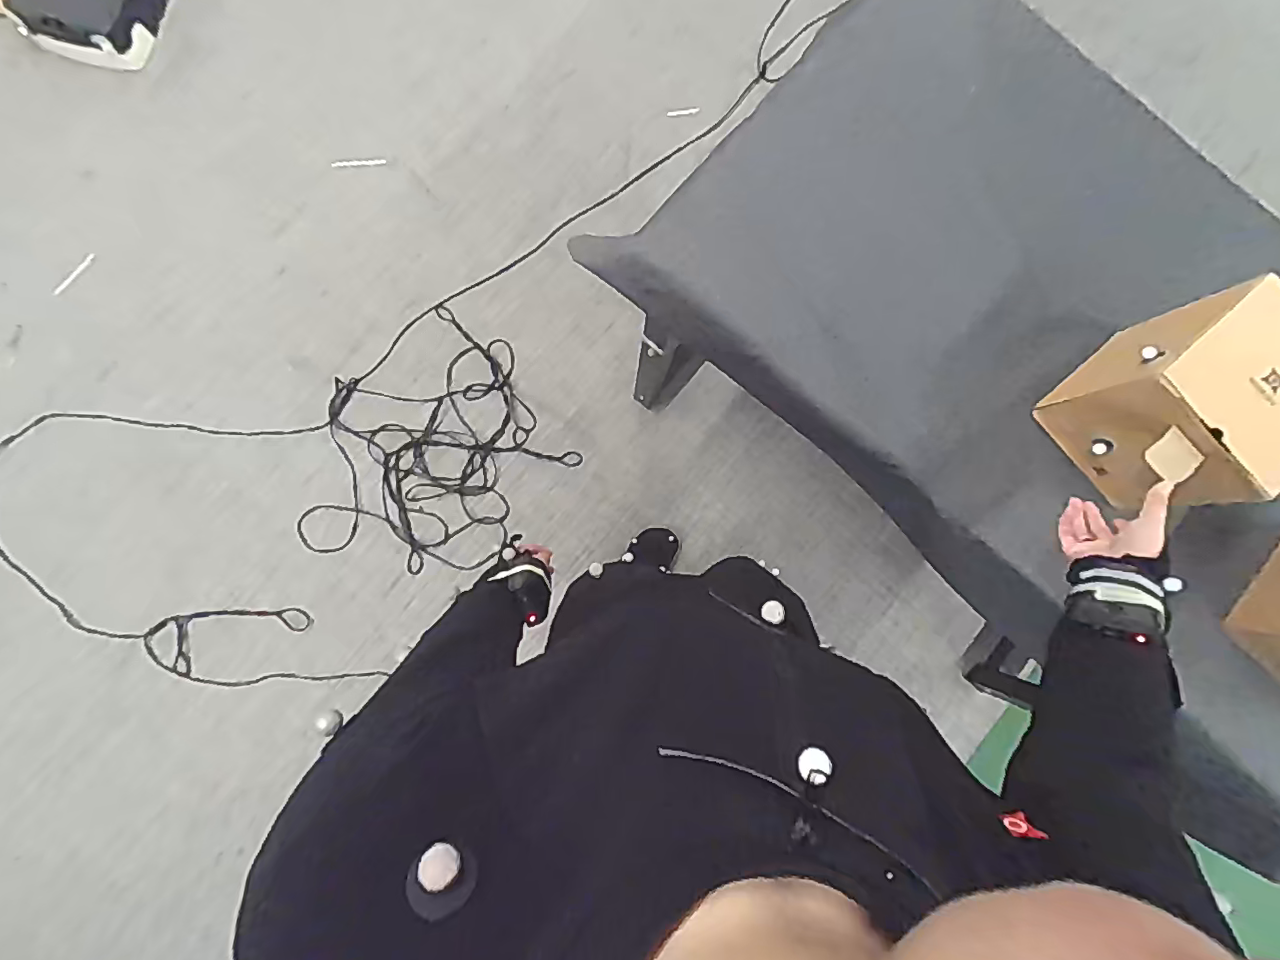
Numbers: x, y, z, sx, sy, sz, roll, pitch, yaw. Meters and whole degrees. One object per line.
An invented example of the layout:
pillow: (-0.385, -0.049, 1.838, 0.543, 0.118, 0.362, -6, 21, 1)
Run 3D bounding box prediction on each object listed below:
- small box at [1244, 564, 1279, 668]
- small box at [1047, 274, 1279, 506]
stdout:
small box: (0.846, 0.170, 0.592, 0.168, 0.176, 0.179, 42, 82, 1)
small box: (0.623, -0.087, 0.607, 0.179, 0.176, 0.168, -40, 88, -6)
